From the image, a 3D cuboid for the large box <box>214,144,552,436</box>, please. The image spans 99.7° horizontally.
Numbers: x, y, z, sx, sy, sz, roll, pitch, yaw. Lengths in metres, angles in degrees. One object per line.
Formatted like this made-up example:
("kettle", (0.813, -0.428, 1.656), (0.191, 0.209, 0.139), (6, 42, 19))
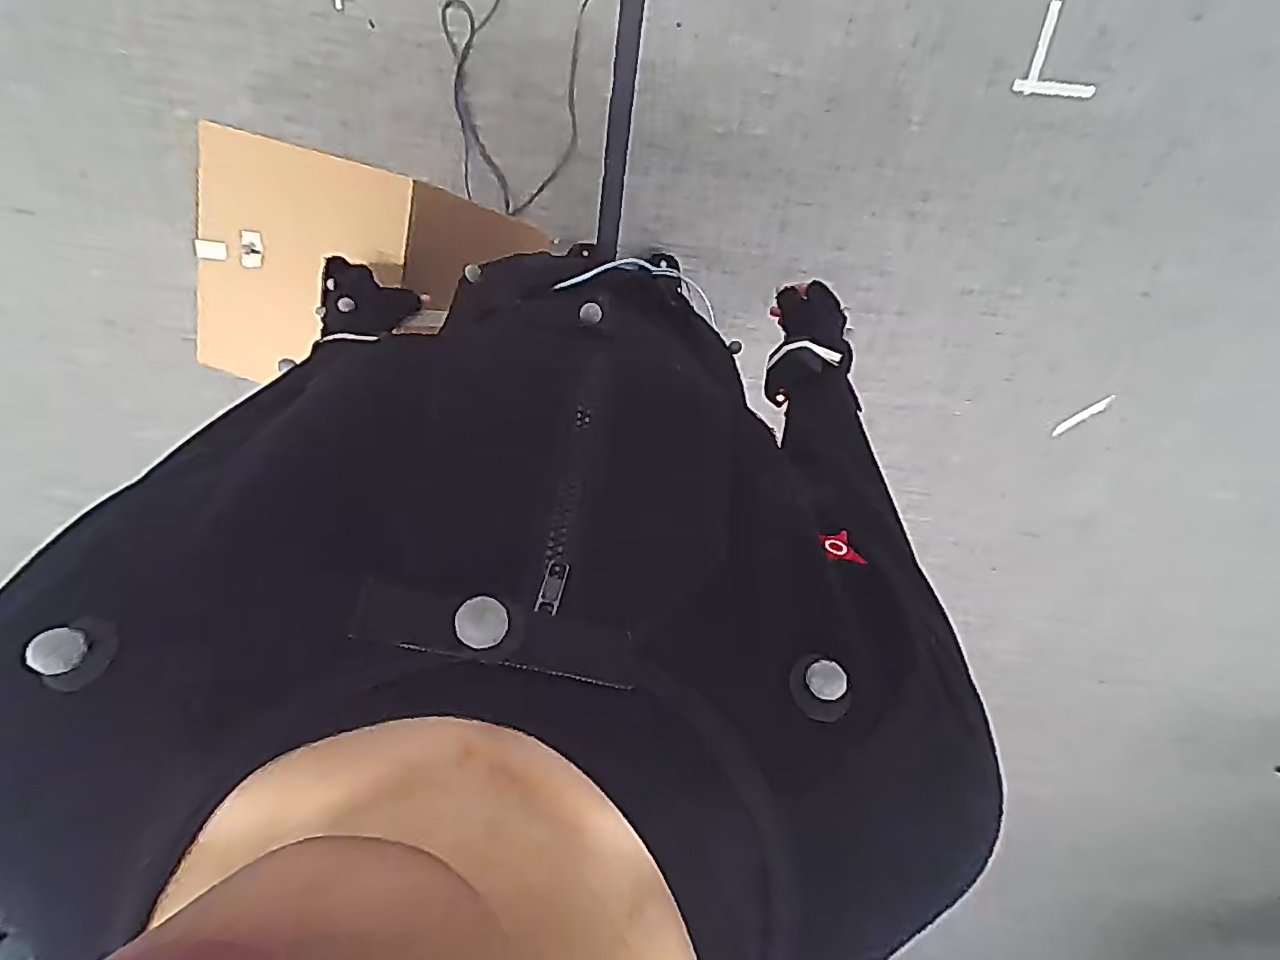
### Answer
("large box", (-0.390, -0.299, 0.891), (0.320, 0.408, 0.320), (20, 109, 8))
